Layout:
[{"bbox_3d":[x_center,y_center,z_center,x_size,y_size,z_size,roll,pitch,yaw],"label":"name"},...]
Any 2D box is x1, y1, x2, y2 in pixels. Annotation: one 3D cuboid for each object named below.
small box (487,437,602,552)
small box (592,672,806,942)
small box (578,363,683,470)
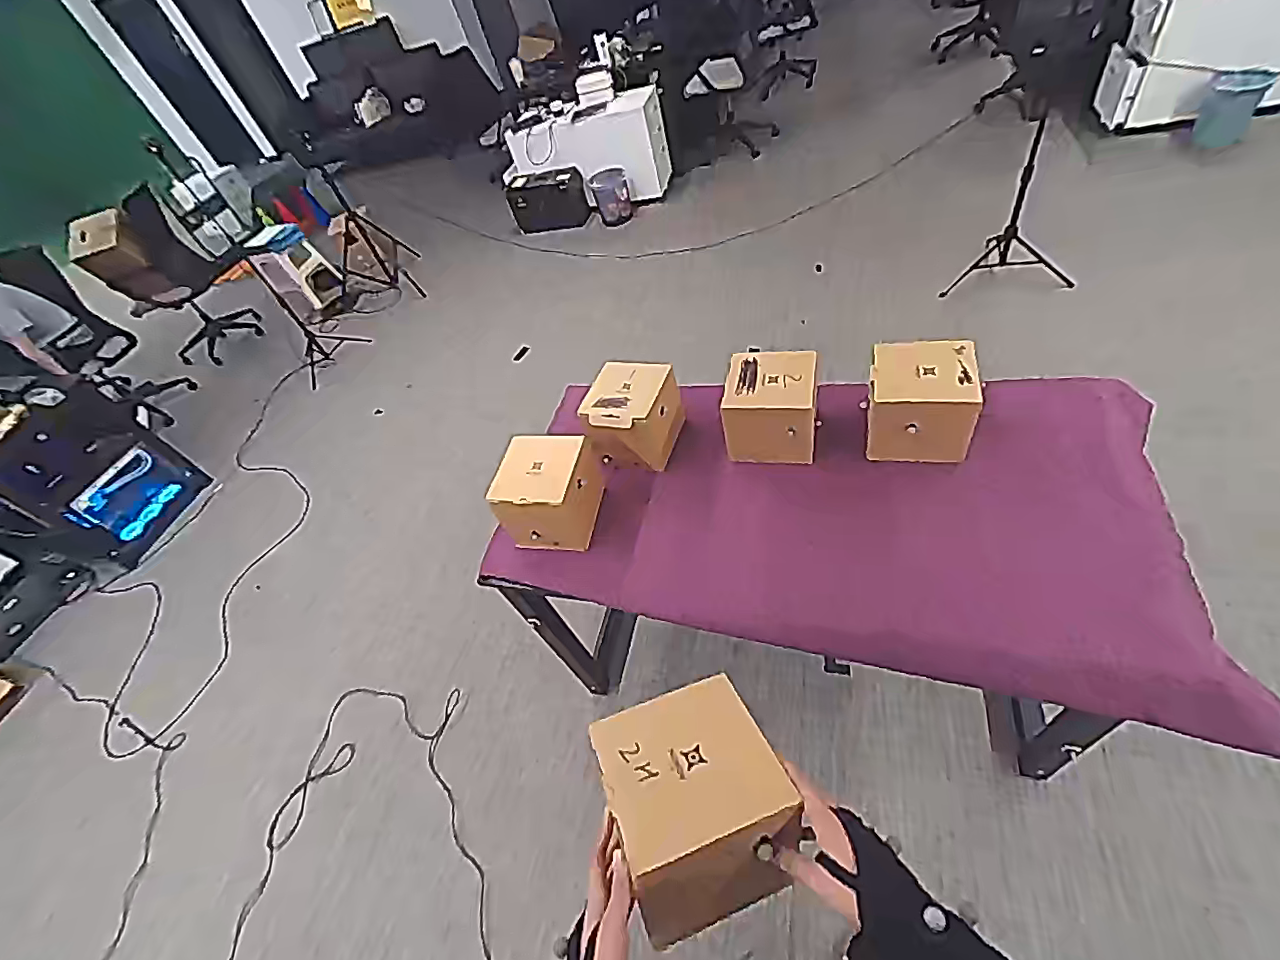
[{"bbox_3d":[-0.188,0.028,1.130,0.168,0.176,0.179,1,52,16],"label":"small box"},{"bbox_3d":[0.060,0.356,0.600,0.179,0.176,0.168,-16,32,-13],"label":"small box"},{"bbox_3d":[-0.012,-0.142,1.222,0.168,0.176,0.179,8,54,23],"label":"small box"}]
